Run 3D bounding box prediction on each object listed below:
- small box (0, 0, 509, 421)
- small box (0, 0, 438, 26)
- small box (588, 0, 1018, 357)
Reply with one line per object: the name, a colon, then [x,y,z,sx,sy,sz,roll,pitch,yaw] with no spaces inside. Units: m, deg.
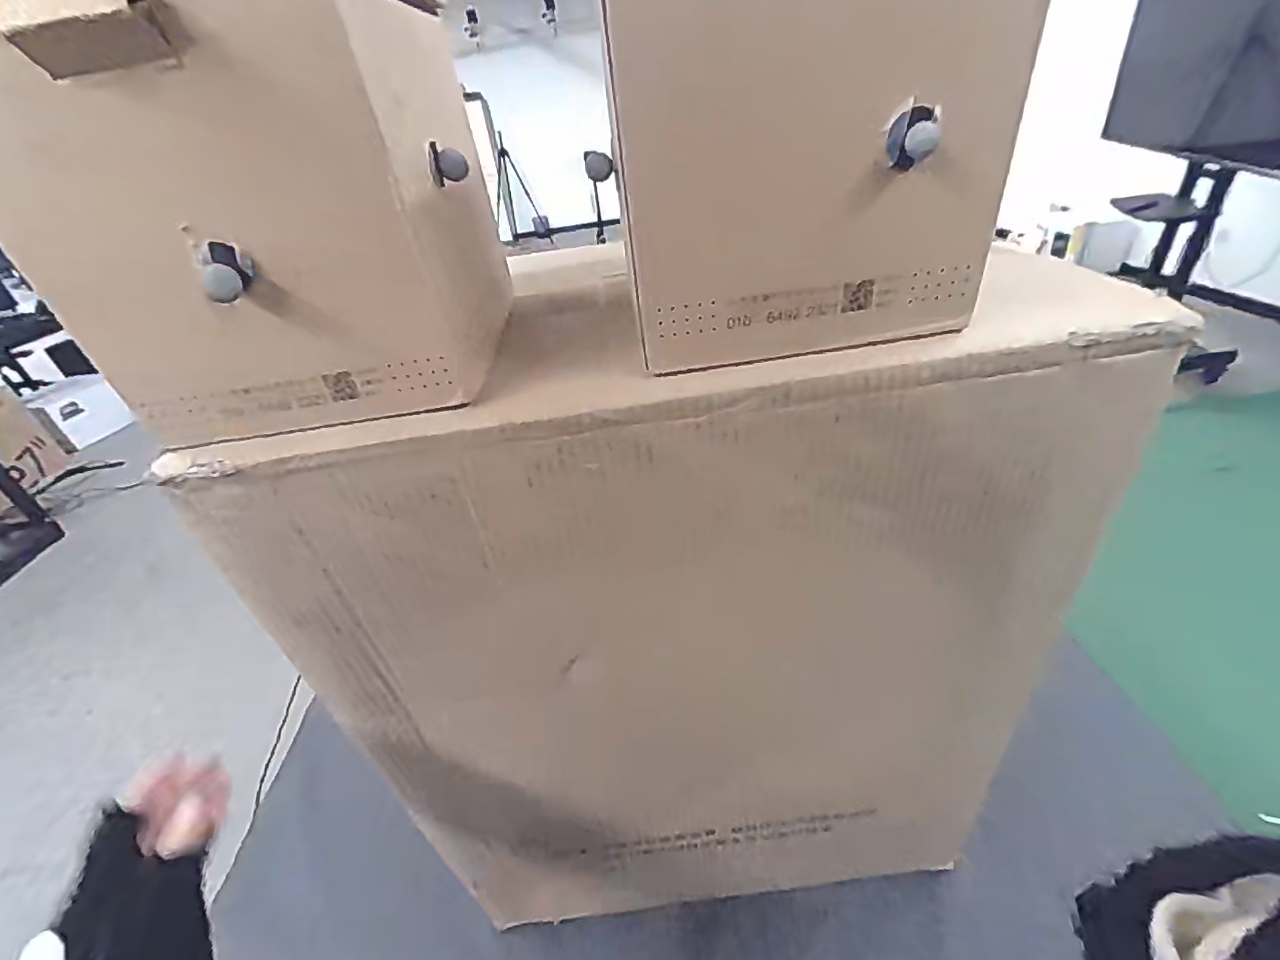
small box: [-0.181,-0.143,0.298,0.168,0.176,0.179,-7,37,1]
small box: [-0.201,-0.278,0.205,0.179,0.176,0.168,-8,36,2]
small box: [0.066,-0.174,0.294,0.168,0.176,0.179,-6,35,0]
